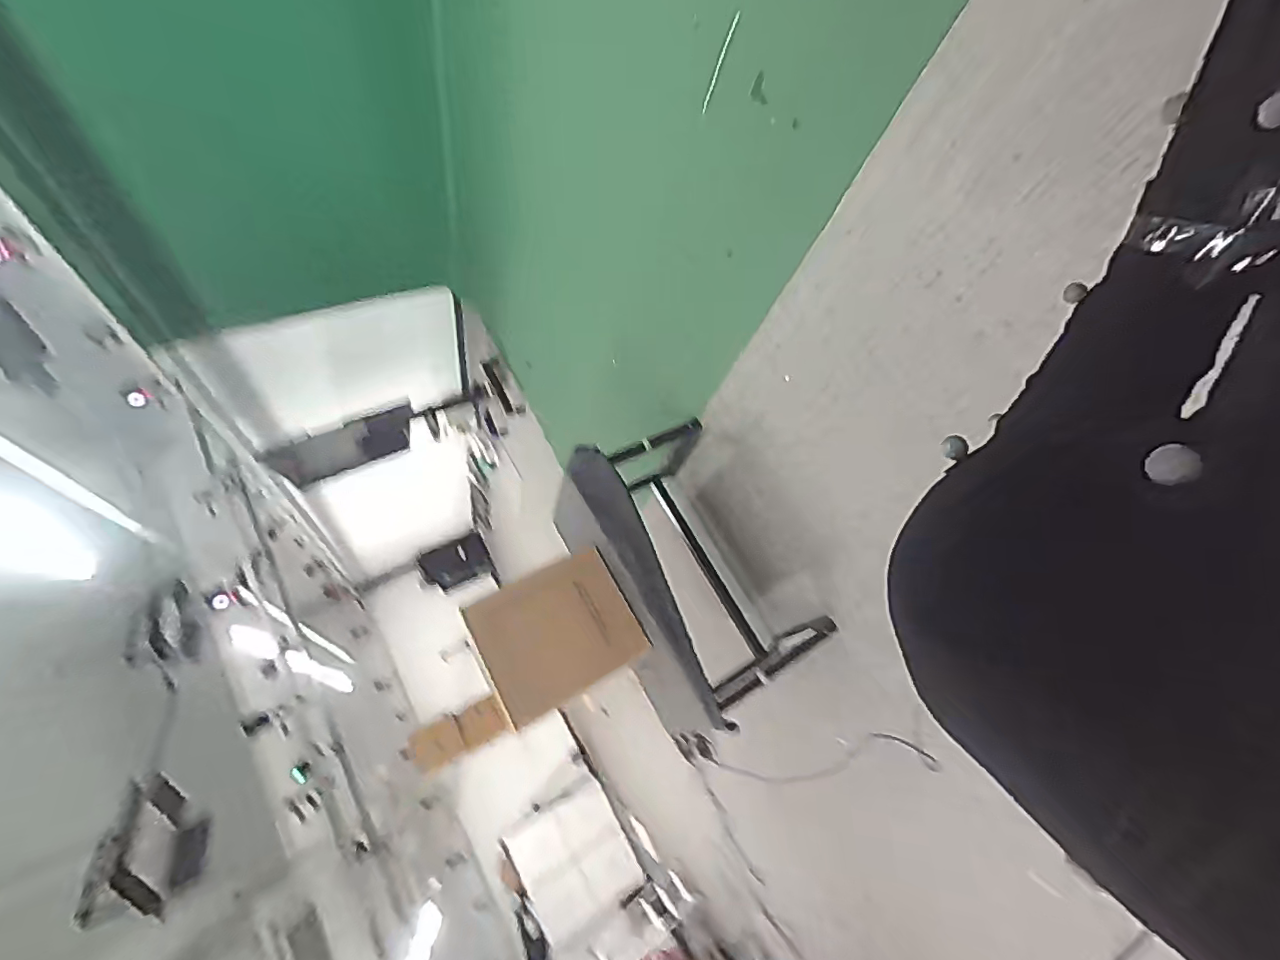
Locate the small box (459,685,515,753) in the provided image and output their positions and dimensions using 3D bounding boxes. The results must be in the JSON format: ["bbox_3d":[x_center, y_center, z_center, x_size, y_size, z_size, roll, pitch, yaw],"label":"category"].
[{"bbox_3d":[-0.596,0.929,2.109,0.168,0.176,0.179,54,150,25],"label":"small box"}]

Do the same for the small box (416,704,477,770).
[{"bbox_3d":[-0.724,0.966,2.042,0.179,0.176,0.168,58,153,18],"label":"small box"}]
